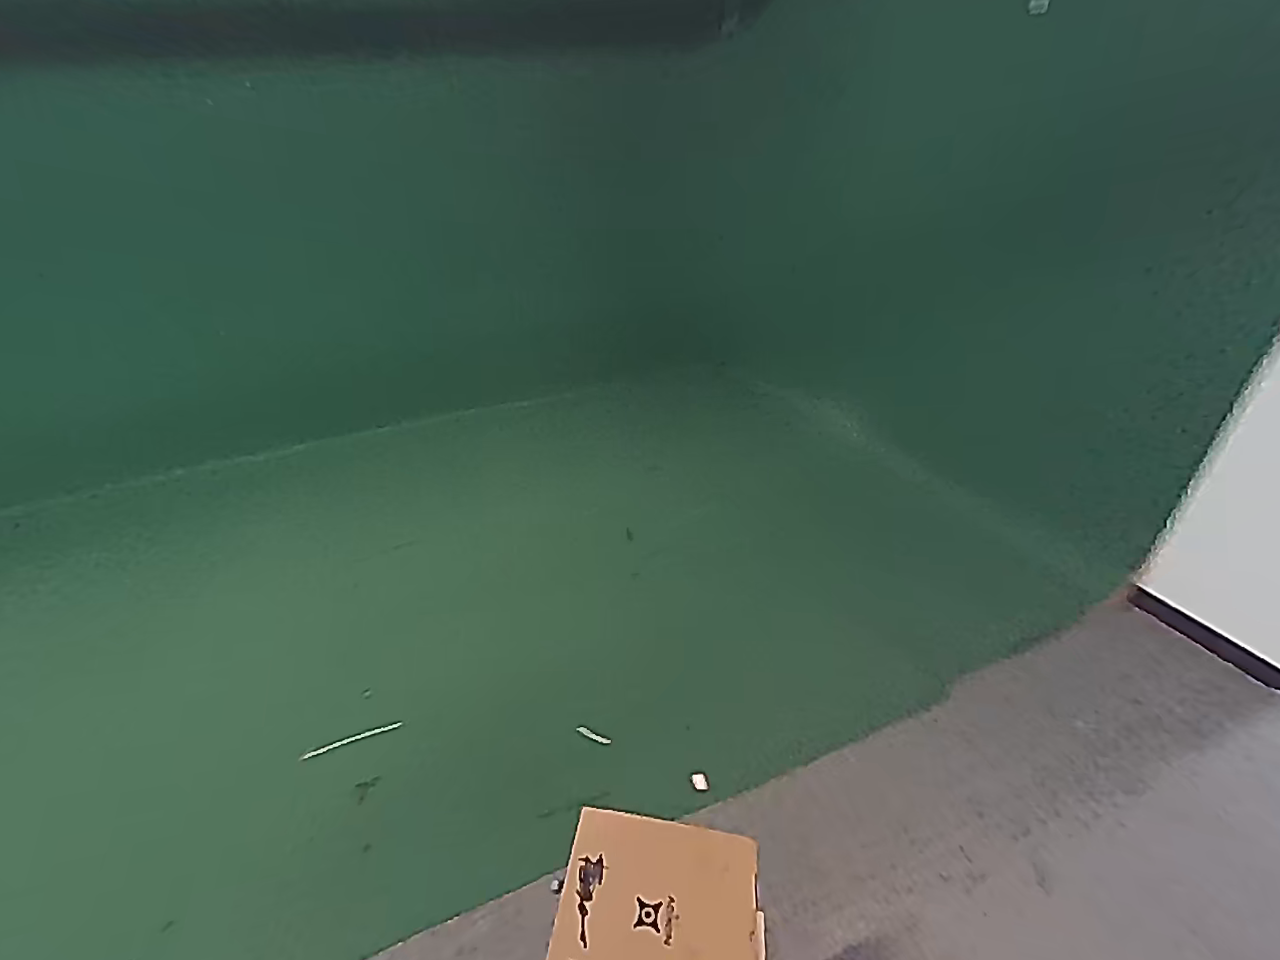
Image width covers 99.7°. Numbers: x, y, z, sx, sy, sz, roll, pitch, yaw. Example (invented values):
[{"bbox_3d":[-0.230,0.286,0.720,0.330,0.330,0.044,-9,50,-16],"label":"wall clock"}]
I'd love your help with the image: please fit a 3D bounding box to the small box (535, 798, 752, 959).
[{"bbox_3d":[0.001,0.438,0.500,0.179,0.176,0.168,8,28,5],"label":"small box"}]
